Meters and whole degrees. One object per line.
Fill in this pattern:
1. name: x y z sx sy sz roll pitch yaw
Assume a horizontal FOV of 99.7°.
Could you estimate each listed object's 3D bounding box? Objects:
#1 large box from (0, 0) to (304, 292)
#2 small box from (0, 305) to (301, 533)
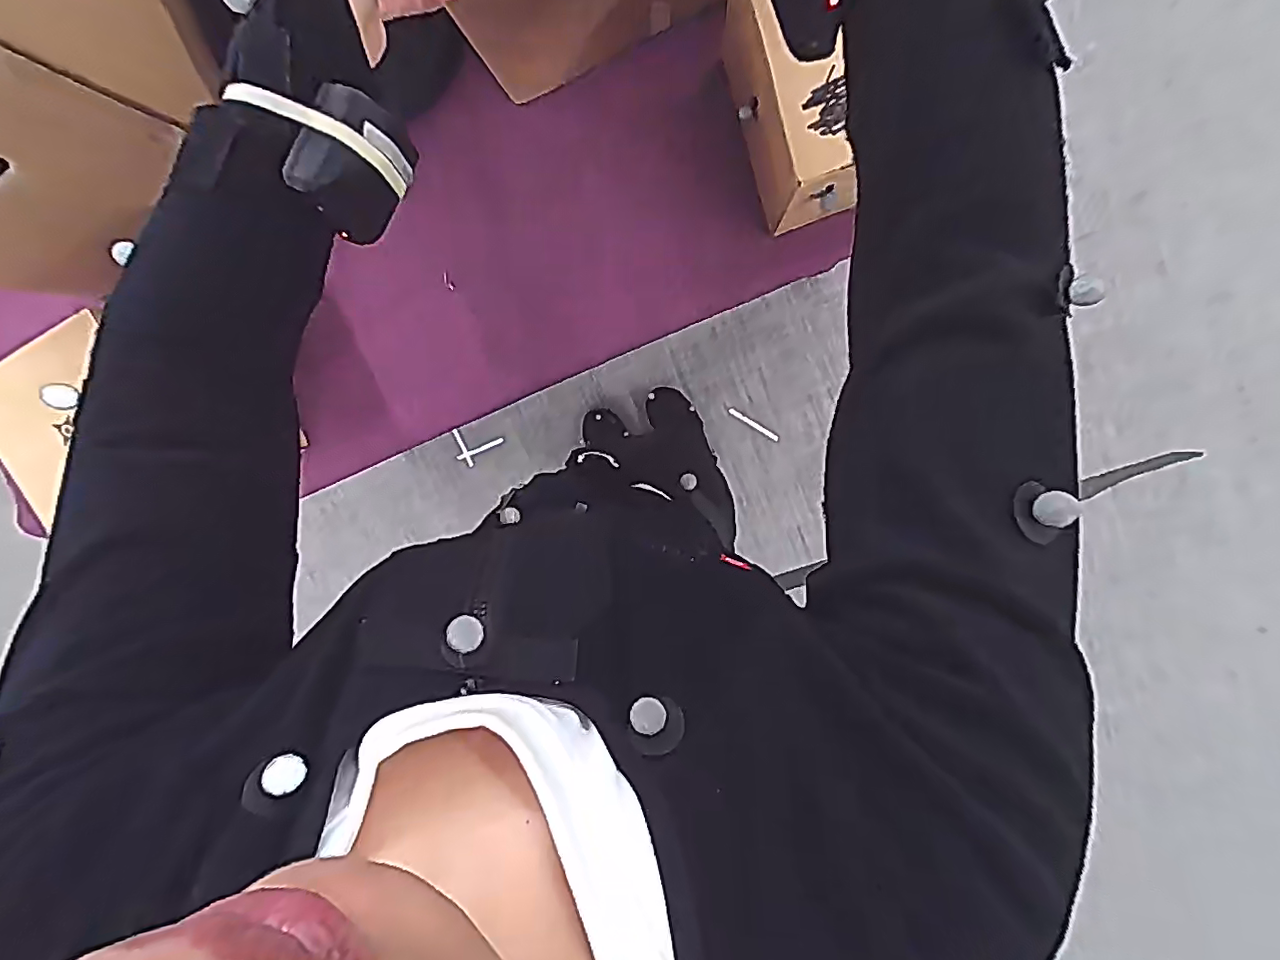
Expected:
1. large box: -0.598 -0.422 0.448 0.320 0.320 0.408 -23 101 11
2. small box: -0.525 -0.065 0.587 0.179 0.176 0.168 -25 97 9
